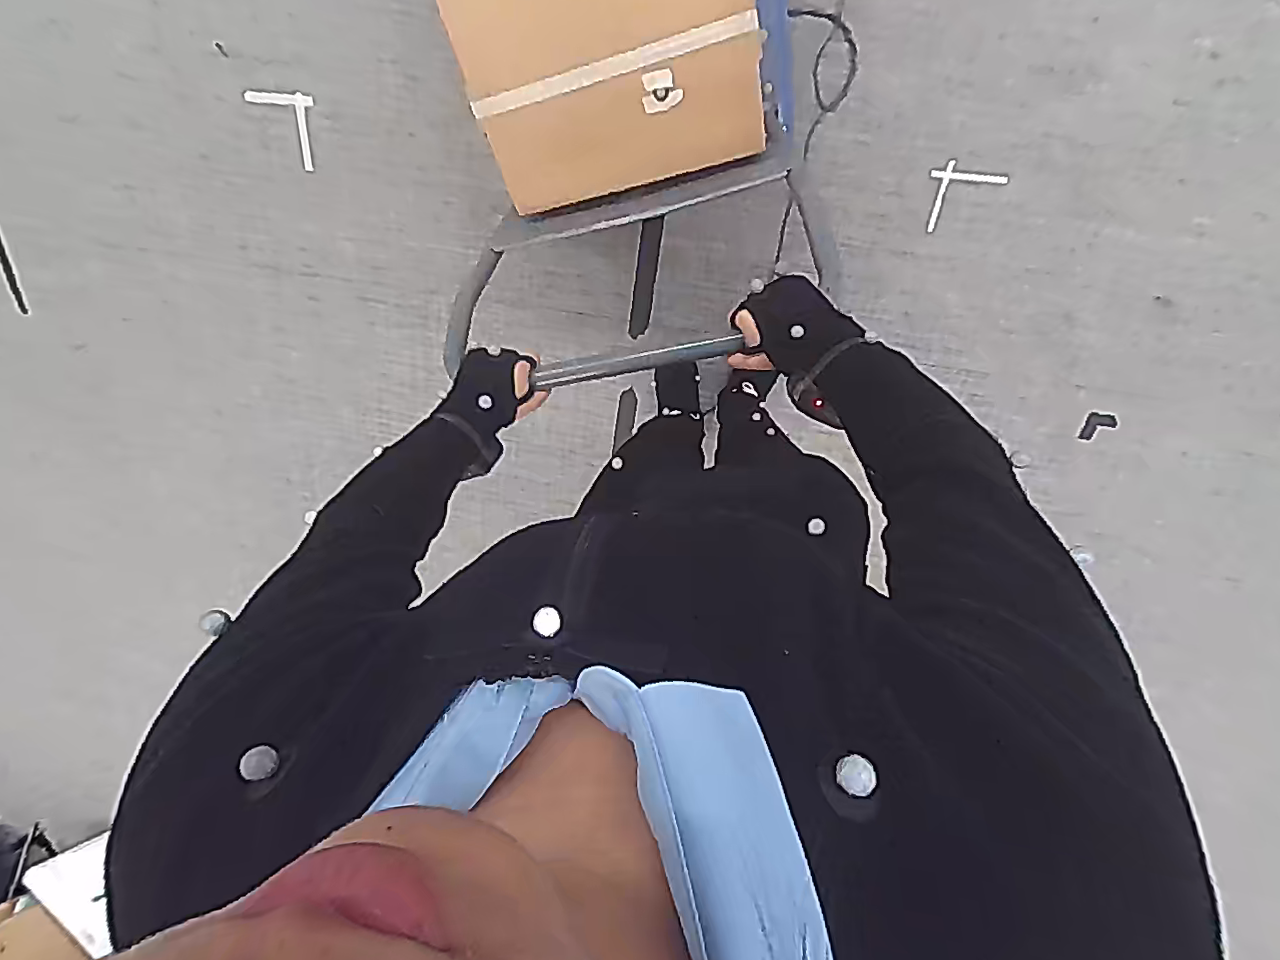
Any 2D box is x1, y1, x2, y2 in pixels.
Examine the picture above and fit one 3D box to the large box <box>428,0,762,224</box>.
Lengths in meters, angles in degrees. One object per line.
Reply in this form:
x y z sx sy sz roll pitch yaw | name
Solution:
-0.042 -0.661 0.858 0.408 0.320 0.320 -10 132 12 | large box
